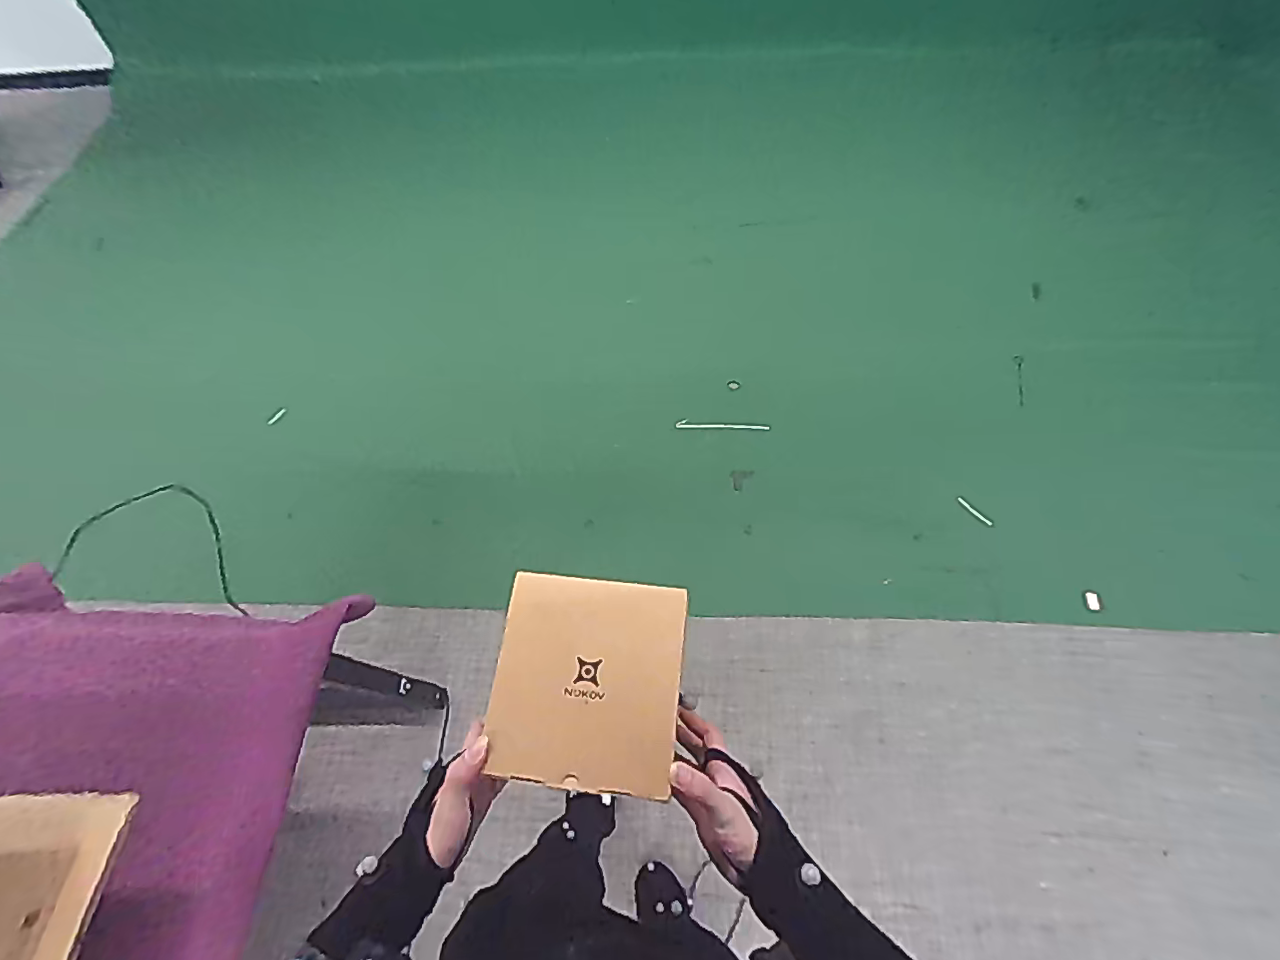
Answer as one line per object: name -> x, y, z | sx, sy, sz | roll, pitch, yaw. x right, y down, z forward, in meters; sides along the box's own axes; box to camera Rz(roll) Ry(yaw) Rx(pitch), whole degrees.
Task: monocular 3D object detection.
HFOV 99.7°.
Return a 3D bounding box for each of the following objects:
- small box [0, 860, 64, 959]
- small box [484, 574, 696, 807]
small box -> -0.689, 0.436, 0.468 | 0.179, 0.176, 0.168 | -2, 59, 2
small box -> -0.036, 0.208, 0.547 | 0.168, 0.176, 0.179 | 5, 68, 5
